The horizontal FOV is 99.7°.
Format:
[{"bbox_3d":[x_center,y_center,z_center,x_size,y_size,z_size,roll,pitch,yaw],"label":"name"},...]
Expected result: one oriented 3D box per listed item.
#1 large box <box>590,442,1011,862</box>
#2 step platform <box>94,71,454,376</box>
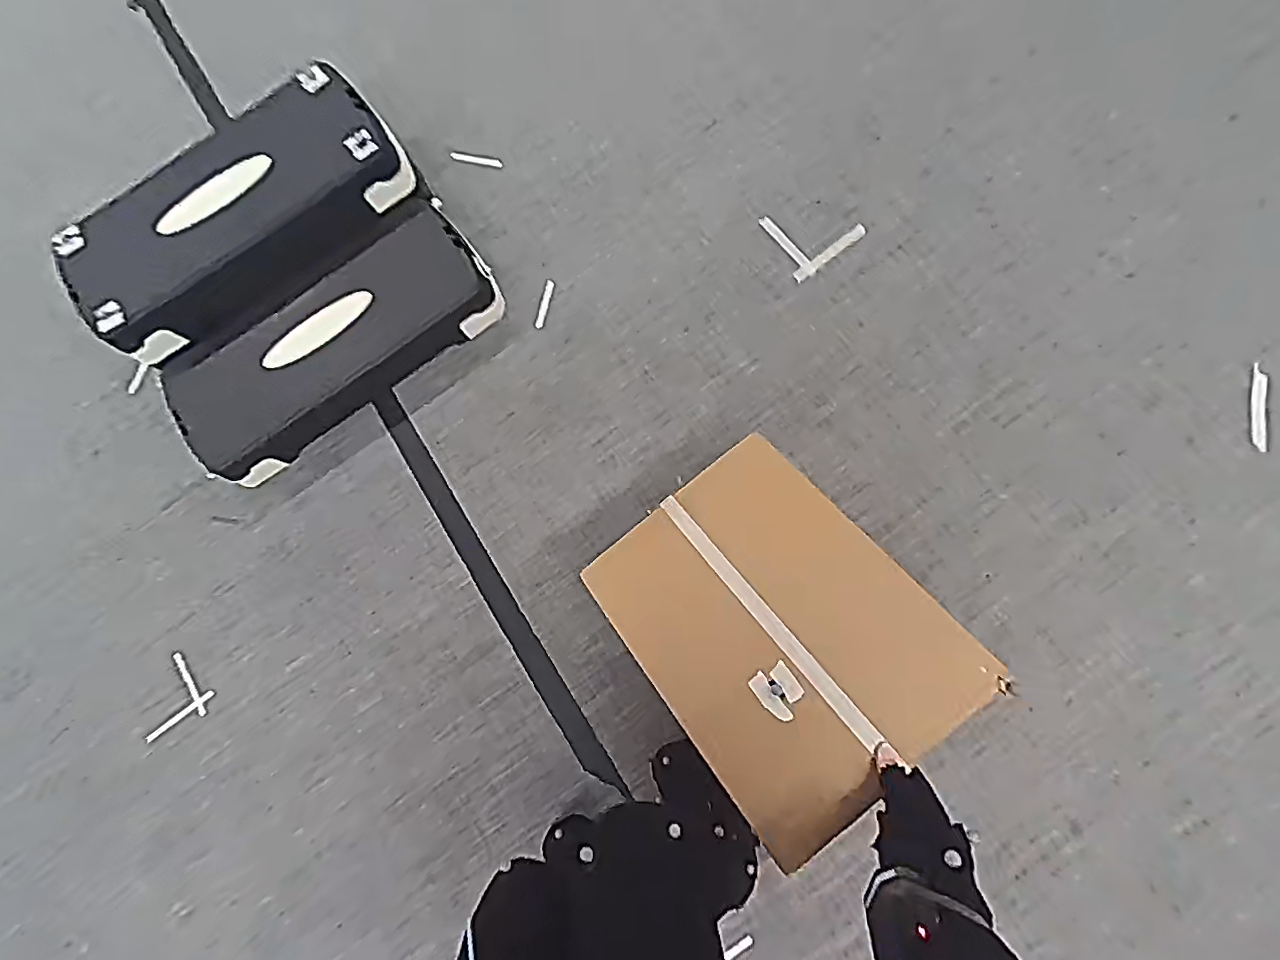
[{"bbox_3d":[0.199,0.226,0.782,0.320,0.320,0.408,-40,61,-2],"label":"large box"},{"bbox_3d":[-0.758,-0.531,1.142,0.684,0.204,0.286,-36,78,-2],"label":"step platform"}]
